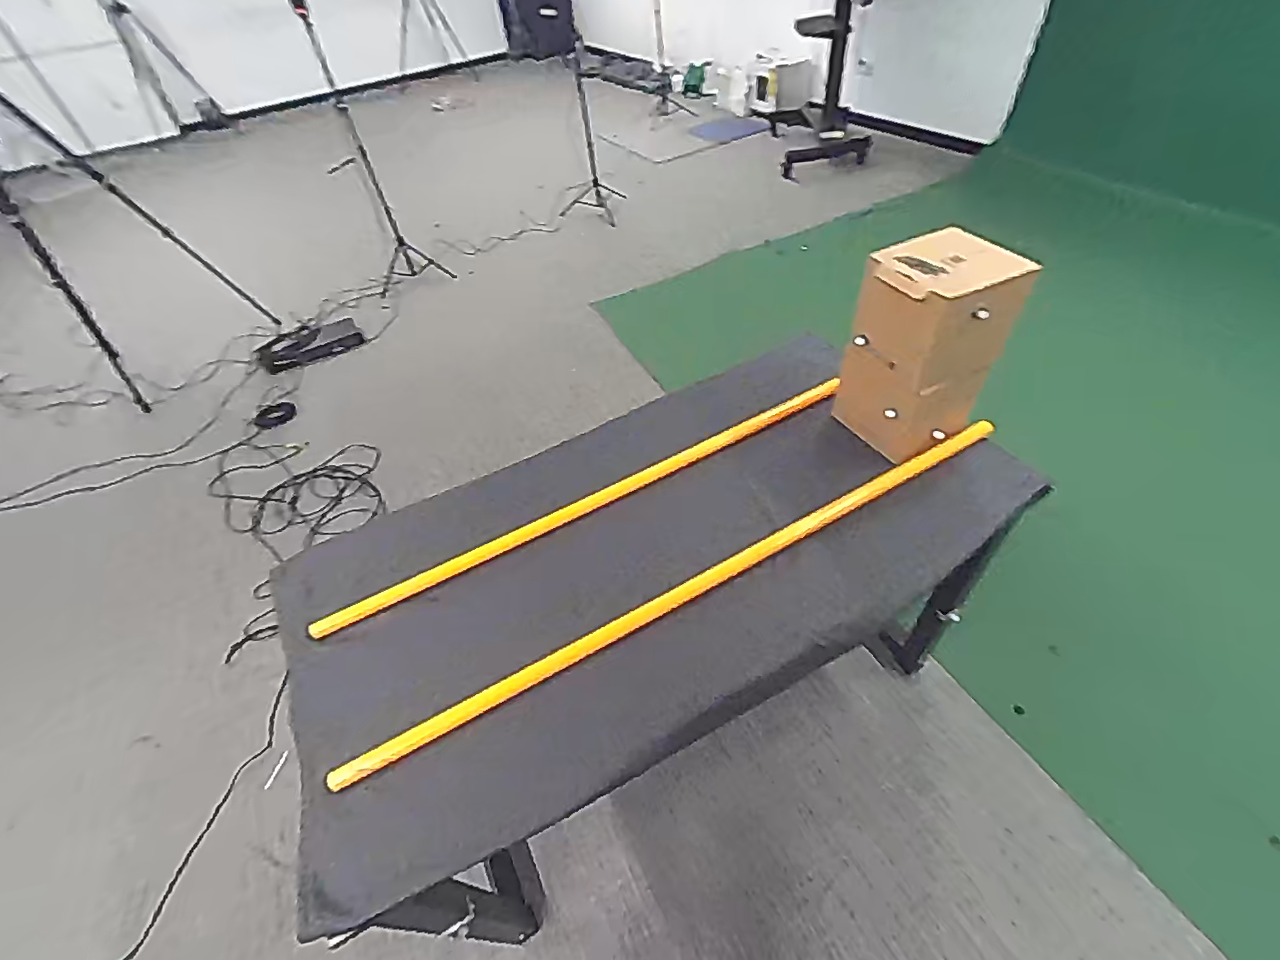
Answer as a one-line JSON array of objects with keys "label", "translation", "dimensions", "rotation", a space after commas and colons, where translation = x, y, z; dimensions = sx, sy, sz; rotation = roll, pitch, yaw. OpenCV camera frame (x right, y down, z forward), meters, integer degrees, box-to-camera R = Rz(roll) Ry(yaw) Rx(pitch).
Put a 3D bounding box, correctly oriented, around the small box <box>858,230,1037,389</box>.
[{"label": "small box", "translation": [0.478, -0.273, 0.877], "dimensions": [0.179, 0.176, 0.168], "rotation": [-21, 49, -12]}]
